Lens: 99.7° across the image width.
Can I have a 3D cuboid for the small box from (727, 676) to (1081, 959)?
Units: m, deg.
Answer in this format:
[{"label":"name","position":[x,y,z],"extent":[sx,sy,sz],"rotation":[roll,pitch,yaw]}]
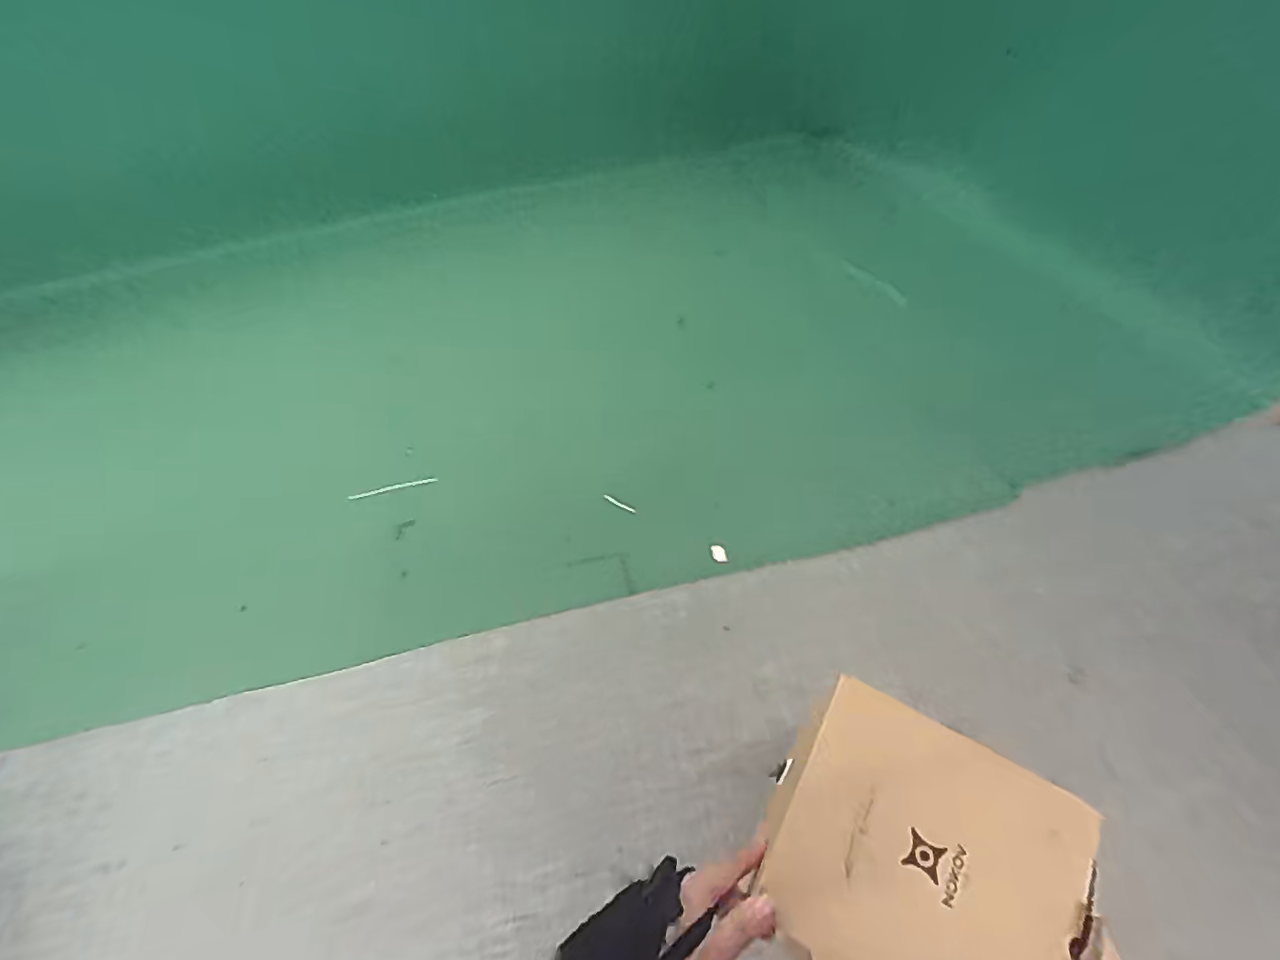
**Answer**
[{"label":"small box","position":[0.179,0.280,0.411],"extent":[0.179,0.176,0.168],"rotation":[23,62,20]}]
